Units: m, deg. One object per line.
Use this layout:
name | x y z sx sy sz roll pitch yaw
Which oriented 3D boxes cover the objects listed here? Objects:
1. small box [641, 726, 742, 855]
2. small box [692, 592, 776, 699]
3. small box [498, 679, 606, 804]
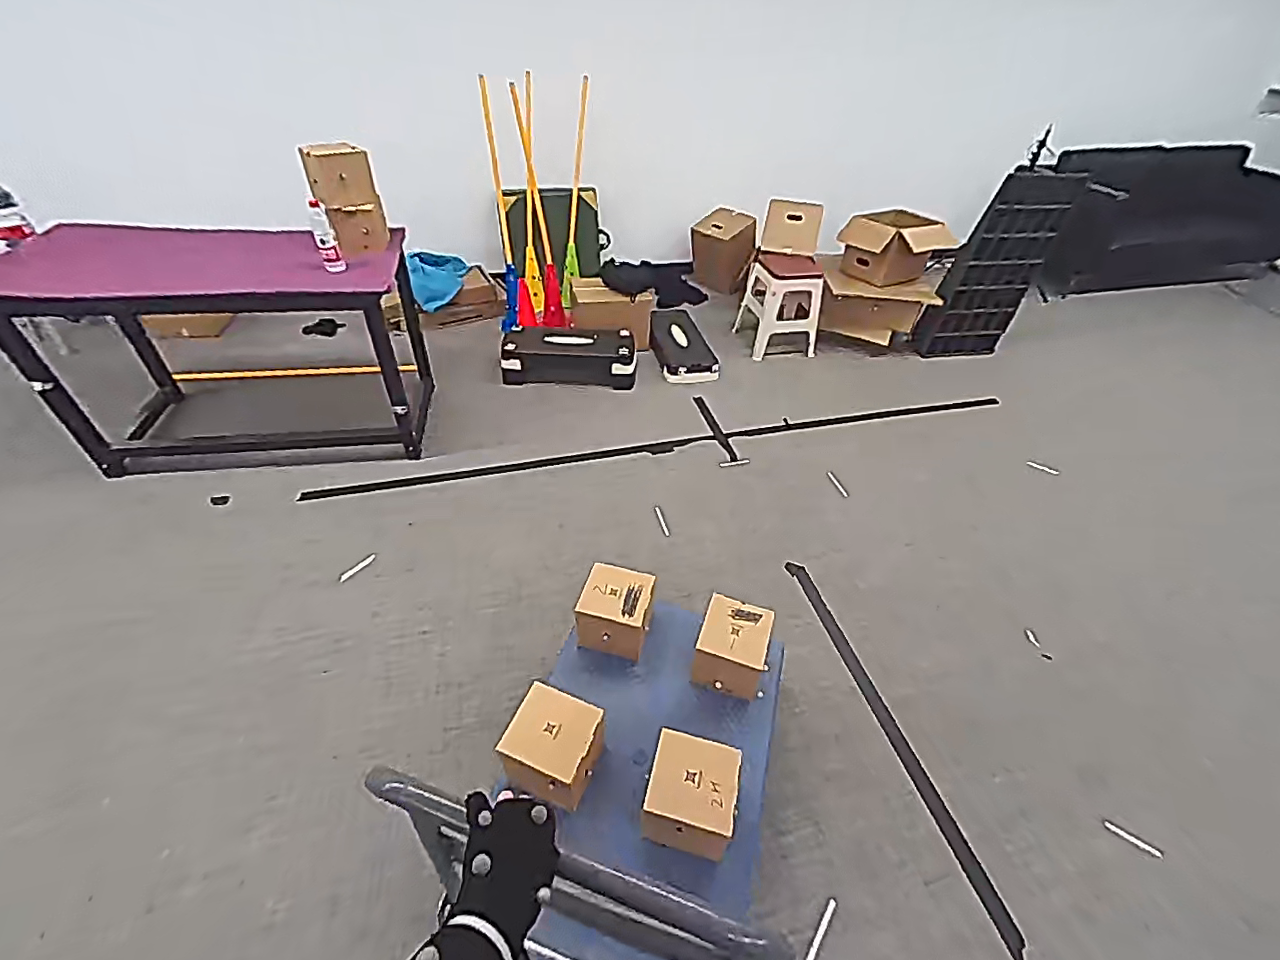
small box | 0.105 0.654 1.135 0.179 0.176 0.168 13 43 10
small box | 0.239 0.428 1.395 0.168 0.176 0.179 16 45 13
small box | -0.189 0.581 1.197 0.179 0.176 0.168 18 44 14
